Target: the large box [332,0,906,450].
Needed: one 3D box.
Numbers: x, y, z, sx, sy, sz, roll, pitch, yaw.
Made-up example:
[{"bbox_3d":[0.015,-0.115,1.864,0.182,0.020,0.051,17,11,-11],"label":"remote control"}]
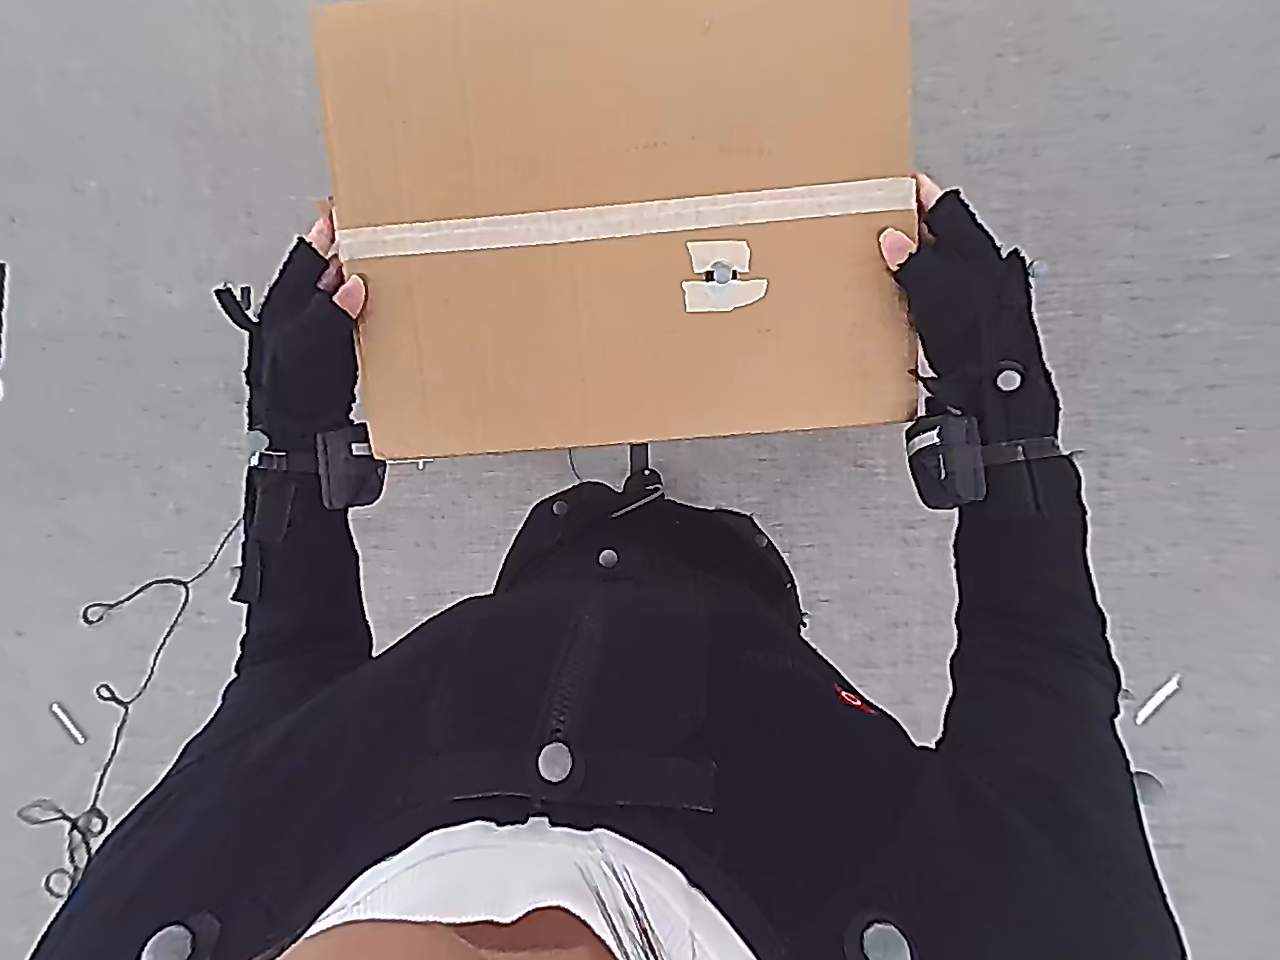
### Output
[{"bbox_3d":[-0.009,-0.212,0.543,0.408,0.320,0.320,-5,98,1],"label":"large box"}]
